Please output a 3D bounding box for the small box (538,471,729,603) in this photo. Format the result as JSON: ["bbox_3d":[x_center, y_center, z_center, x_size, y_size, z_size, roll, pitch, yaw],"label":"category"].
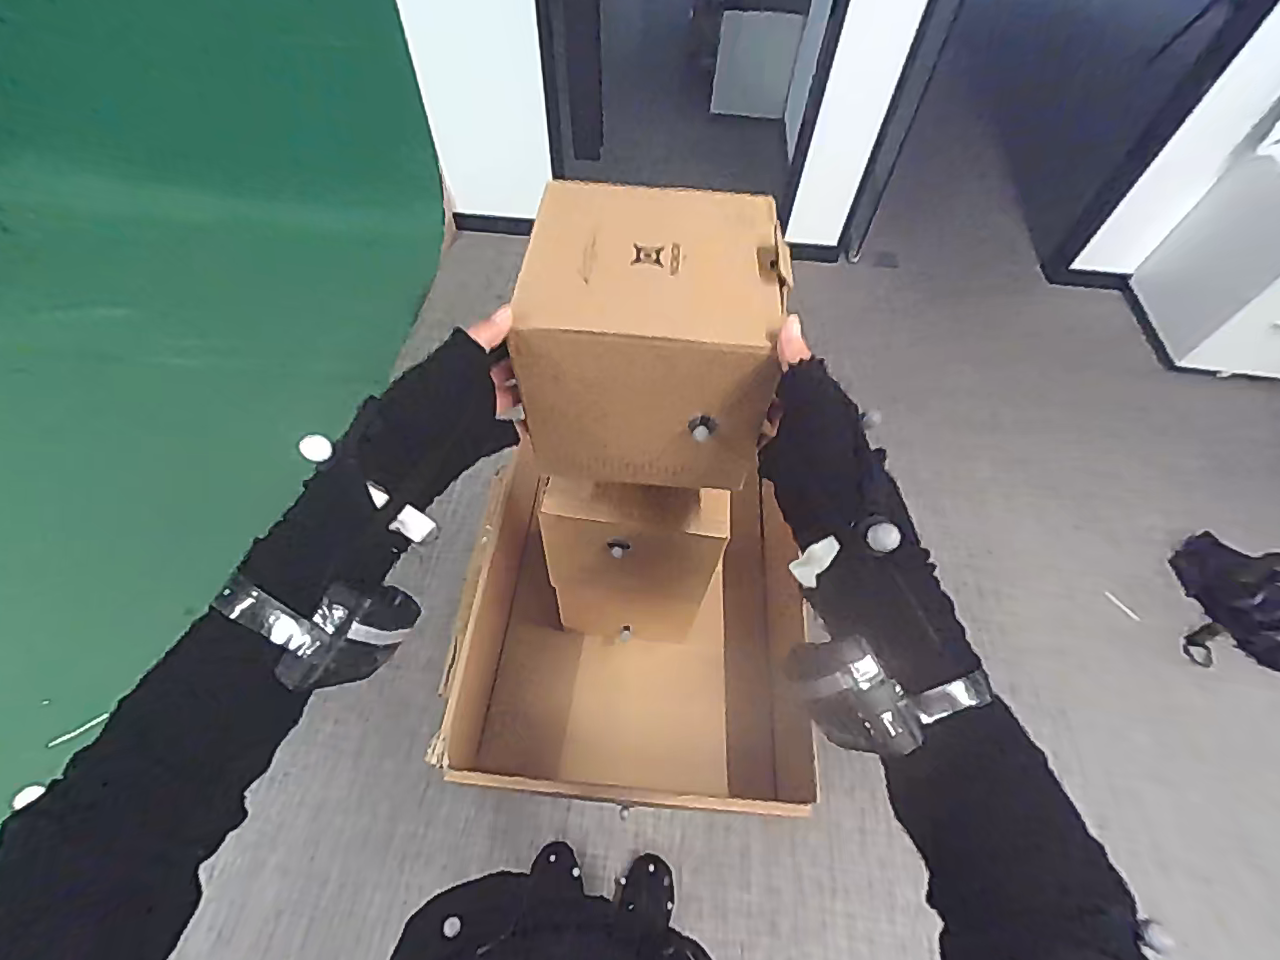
[{"bbox_3d":[-0.002,0.022,0.598,0.179,0.176,0.168,8,55,1],"label":"small box"}]

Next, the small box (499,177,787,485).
[{"bbox_3d":[0.007,-0.110,0.432,0.179,0.176,0.168,4,57,2],"label":"small box"}]

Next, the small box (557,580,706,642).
[{"bbox_3d":[-0.009,0.112,0.736,0.179,0.176,0.168,5,55,0],"label":"small box"}]
